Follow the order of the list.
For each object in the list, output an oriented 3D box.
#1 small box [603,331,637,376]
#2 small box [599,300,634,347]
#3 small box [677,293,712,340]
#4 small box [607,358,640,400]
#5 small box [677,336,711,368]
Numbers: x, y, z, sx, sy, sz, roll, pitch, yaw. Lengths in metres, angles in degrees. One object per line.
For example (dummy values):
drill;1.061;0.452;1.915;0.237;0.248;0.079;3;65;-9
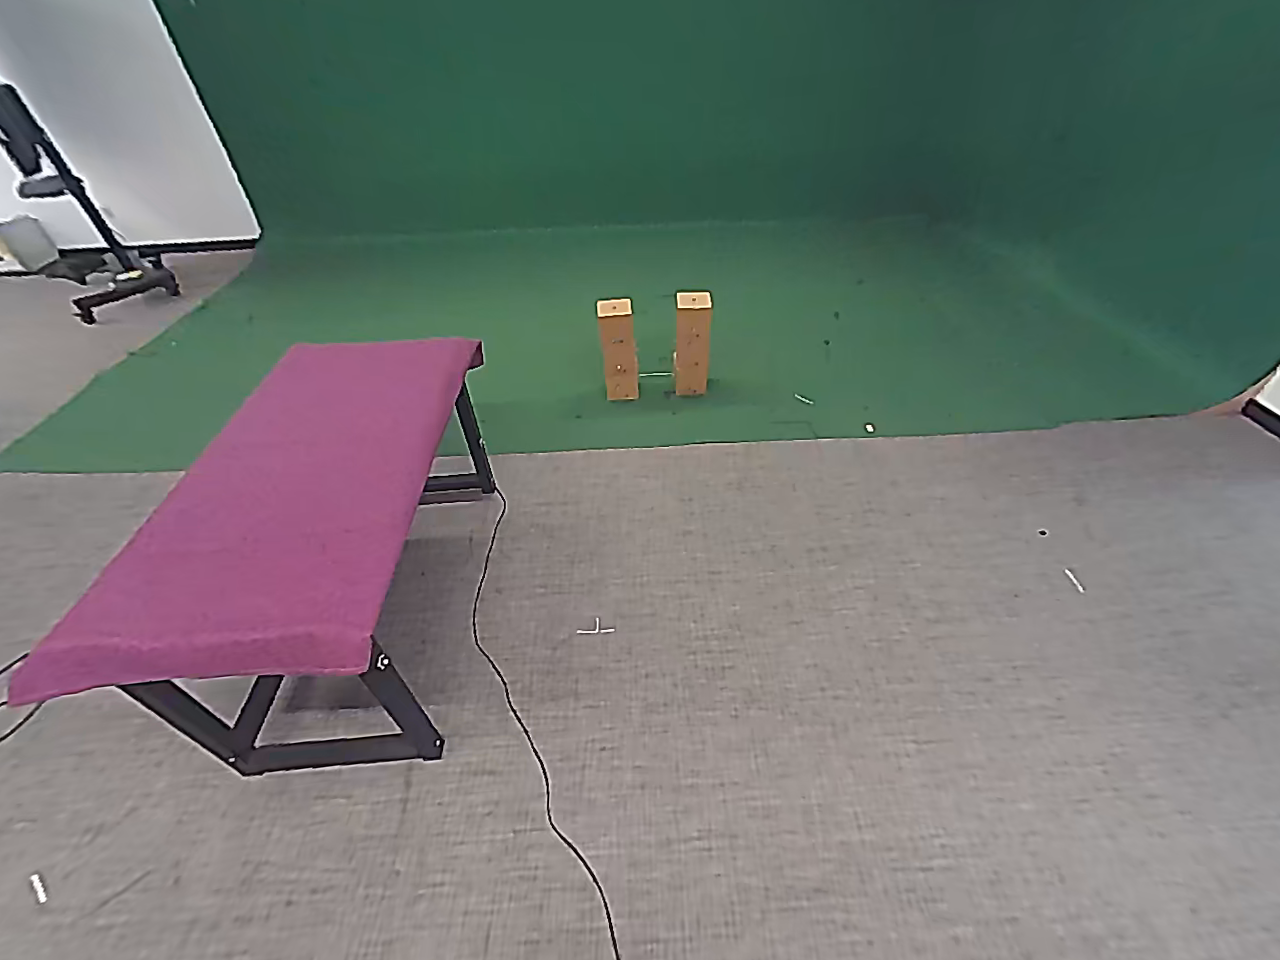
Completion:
small box;-0.103;-0.660;2.803;0.168;0.176;0.179;-5;43;-1
small box;-0.117;-0.778;2.692;0.168;0.176;0.179;-5;42;0
small box;0.271;-0.822;2.713;0.168;0.176;0.179;0;44;3
small box;-0.088;-0.544;2.919;0.168;0.176;0.179;-3;42;1
small box;0.279;-0.704;2.828;0.168;0.176;0.179;0;43;2
